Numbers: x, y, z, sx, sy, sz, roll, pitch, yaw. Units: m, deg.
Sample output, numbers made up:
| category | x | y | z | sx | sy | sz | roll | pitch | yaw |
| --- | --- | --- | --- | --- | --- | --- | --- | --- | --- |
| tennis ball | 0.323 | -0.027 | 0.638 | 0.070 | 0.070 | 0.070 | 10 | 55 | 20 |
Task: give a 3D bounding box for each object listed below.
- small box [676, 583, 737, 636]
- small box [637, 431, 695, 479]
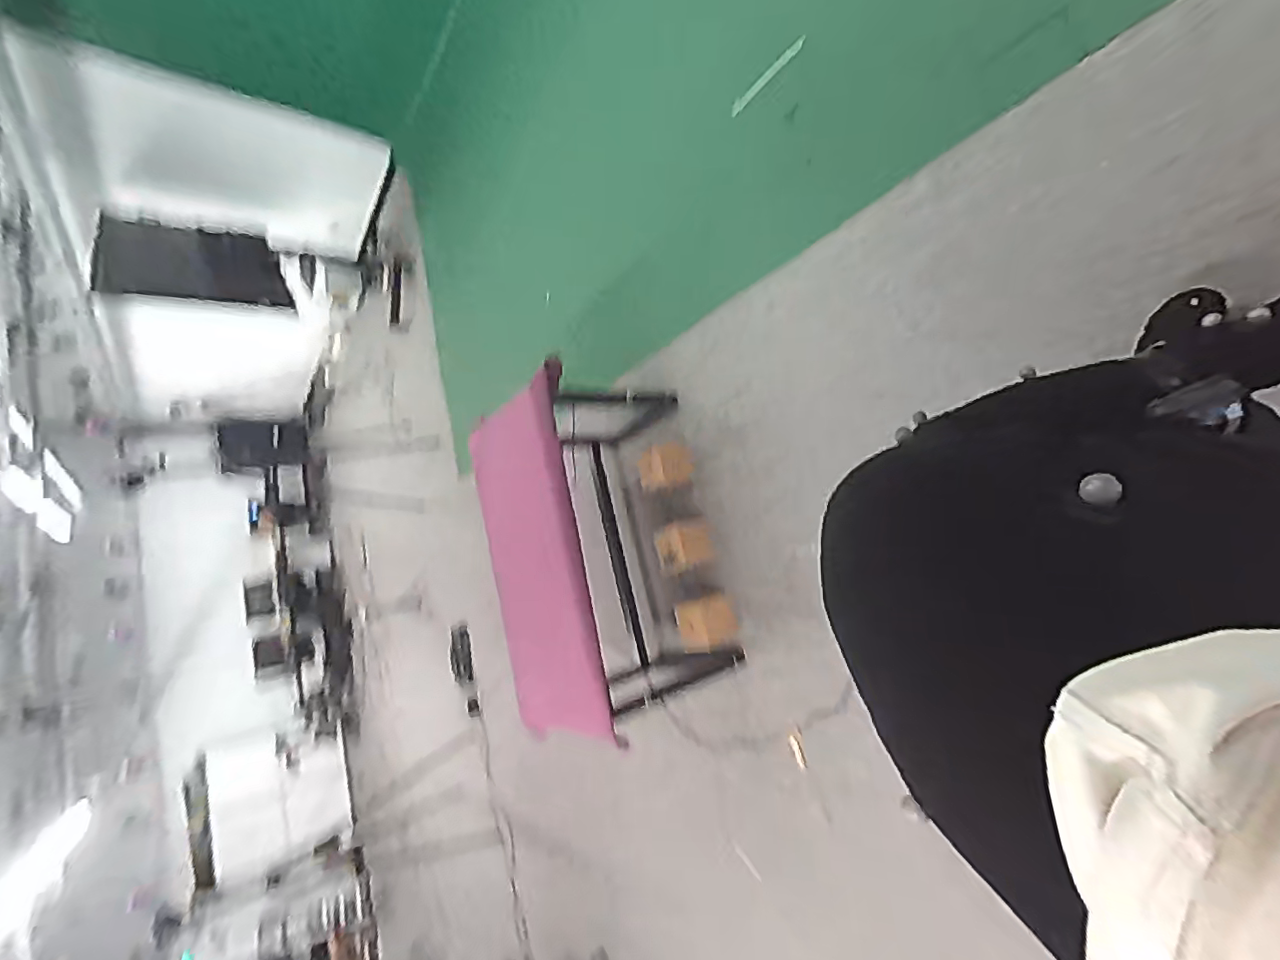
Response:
| category | x | y | z | sx | sy | sz | roll | pitch | yaw |
| --- | --- | --- | --- | --- | --- | --- | --- | --- | --- |
| small box | 0.278 | 0.538 | 2.246 | 0.168 | 0.176 | 0.179 | -23 | 77 | 50 |
| small box | 0.117 | -0.111 | 2.352 | 0.168 | 0.176 | 0.179 | -18 | 81 | 50 |
